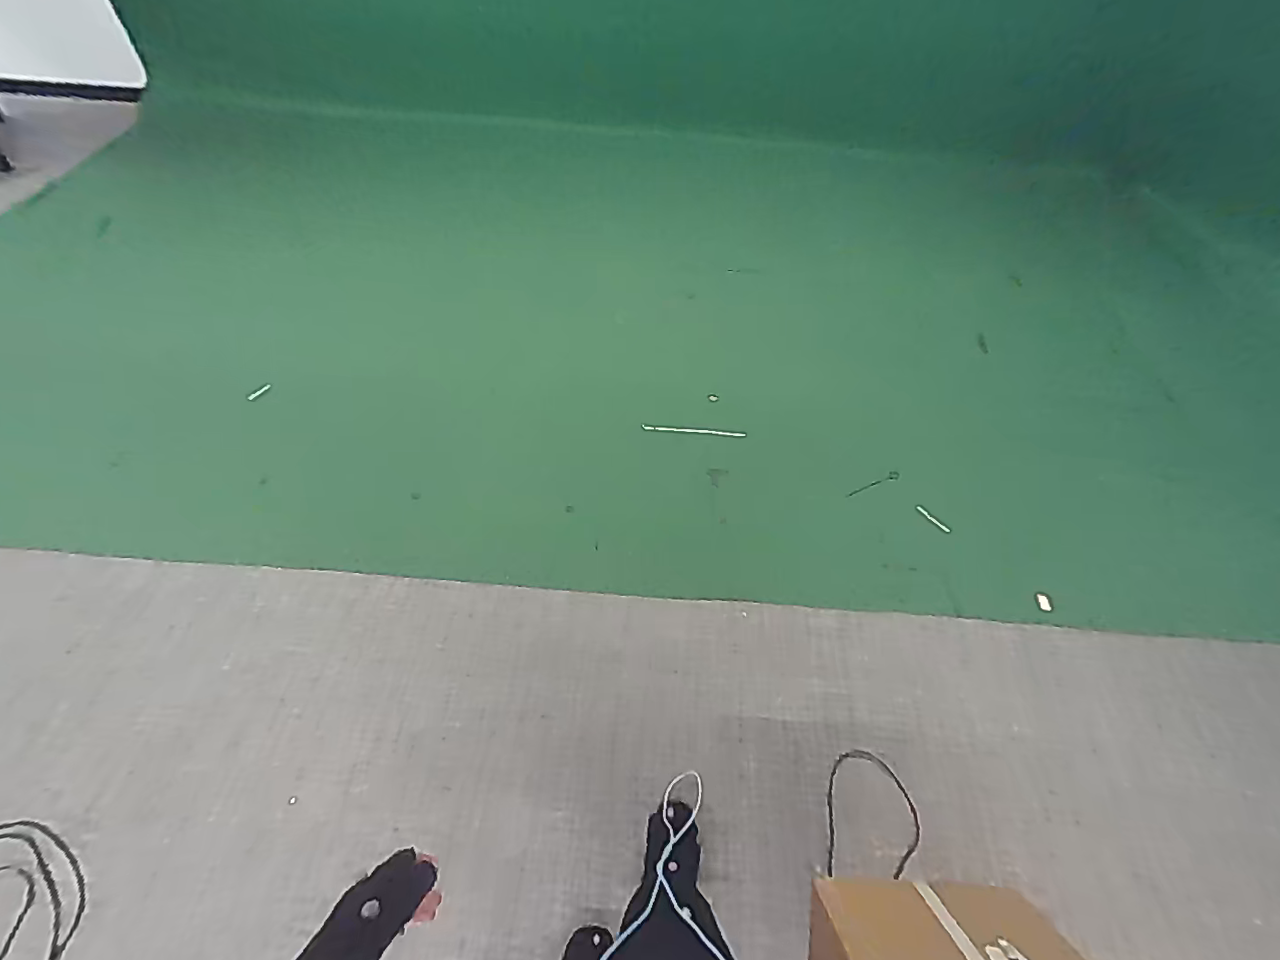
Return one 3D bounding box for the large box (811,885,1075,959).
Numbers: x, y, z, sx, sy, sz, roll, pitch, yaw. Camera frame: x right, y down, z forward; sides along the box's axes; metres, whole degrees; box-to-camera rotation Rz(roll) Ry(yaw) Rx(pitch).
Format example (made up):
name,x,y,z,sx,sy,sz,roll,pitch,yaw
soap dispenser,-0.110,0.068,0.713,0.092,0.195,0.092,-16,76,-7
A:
name,x,y,z,sx,sy,sz,roll,pitch,yaw
large box,0.405,0.758,0.603,0.320,0.408,0.320,5,89,-1
